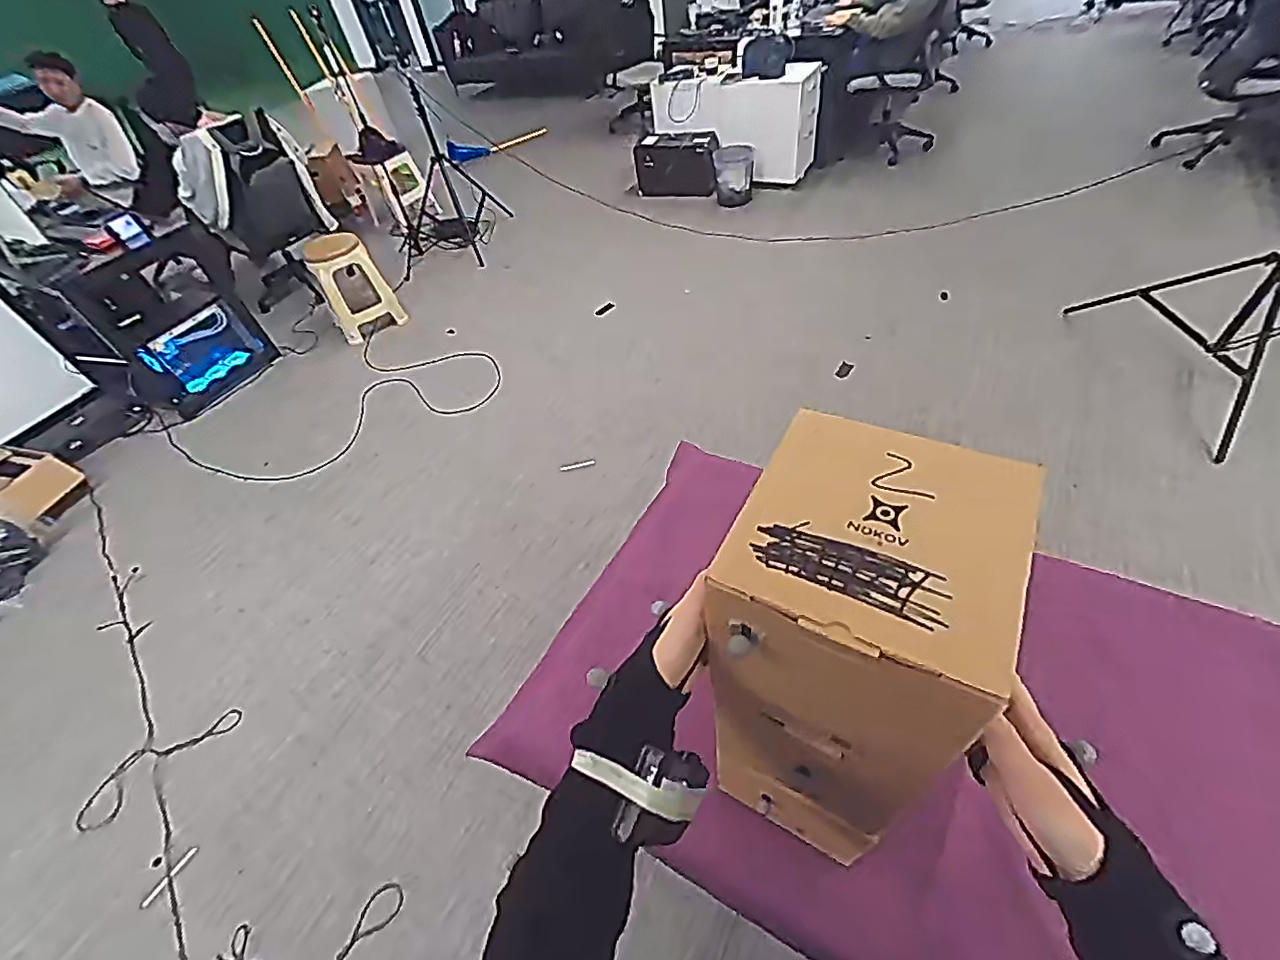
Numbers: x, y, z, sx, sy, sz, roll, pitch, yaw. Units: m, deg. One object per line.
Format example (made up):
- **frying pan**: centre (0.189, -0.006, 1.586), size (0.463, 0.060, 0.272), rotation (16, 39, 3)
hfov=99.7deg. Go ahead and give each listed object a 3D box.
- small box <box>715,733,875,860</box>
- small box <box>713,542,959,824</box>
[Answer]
- **small box**: centre (0.202, 0.311, 0.643), size (0.168, 0.176, 0.179), rotation (20, 54, 25)
- **small box**: centre (0.184, 0.198, 0.527), size (0.168, 0.176, 0.179), rotation (18, 54, 24)
